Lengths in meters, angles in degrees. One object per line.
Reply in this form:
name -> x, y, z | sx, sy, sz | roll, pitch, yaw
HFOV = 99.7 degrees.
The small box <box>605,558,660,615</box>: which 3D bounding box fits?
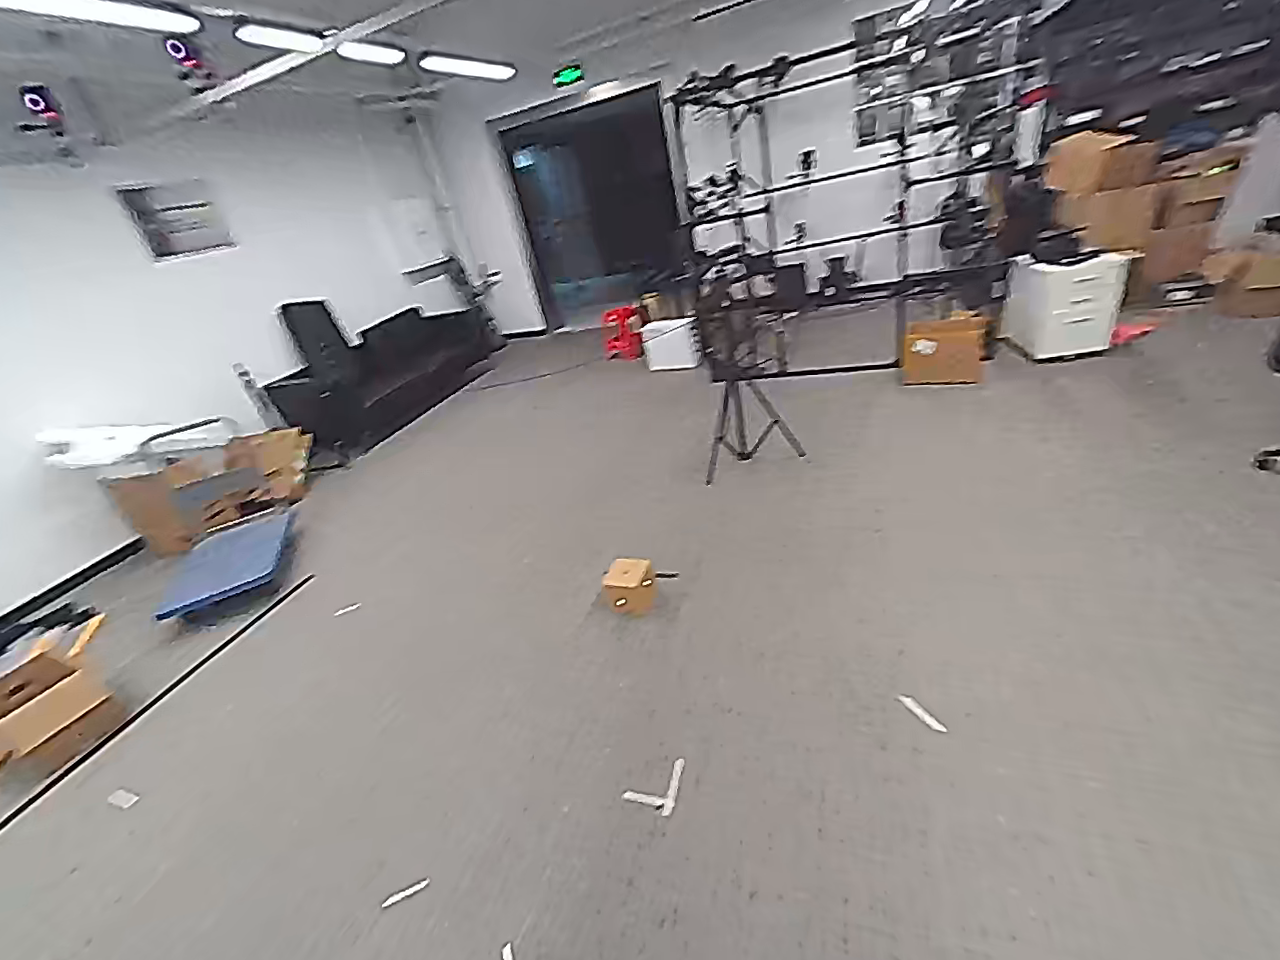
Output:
small box -> -0.026, 0.461, 2.333 | 0.168, 0.176, 0.179 | 1, 31, 25
